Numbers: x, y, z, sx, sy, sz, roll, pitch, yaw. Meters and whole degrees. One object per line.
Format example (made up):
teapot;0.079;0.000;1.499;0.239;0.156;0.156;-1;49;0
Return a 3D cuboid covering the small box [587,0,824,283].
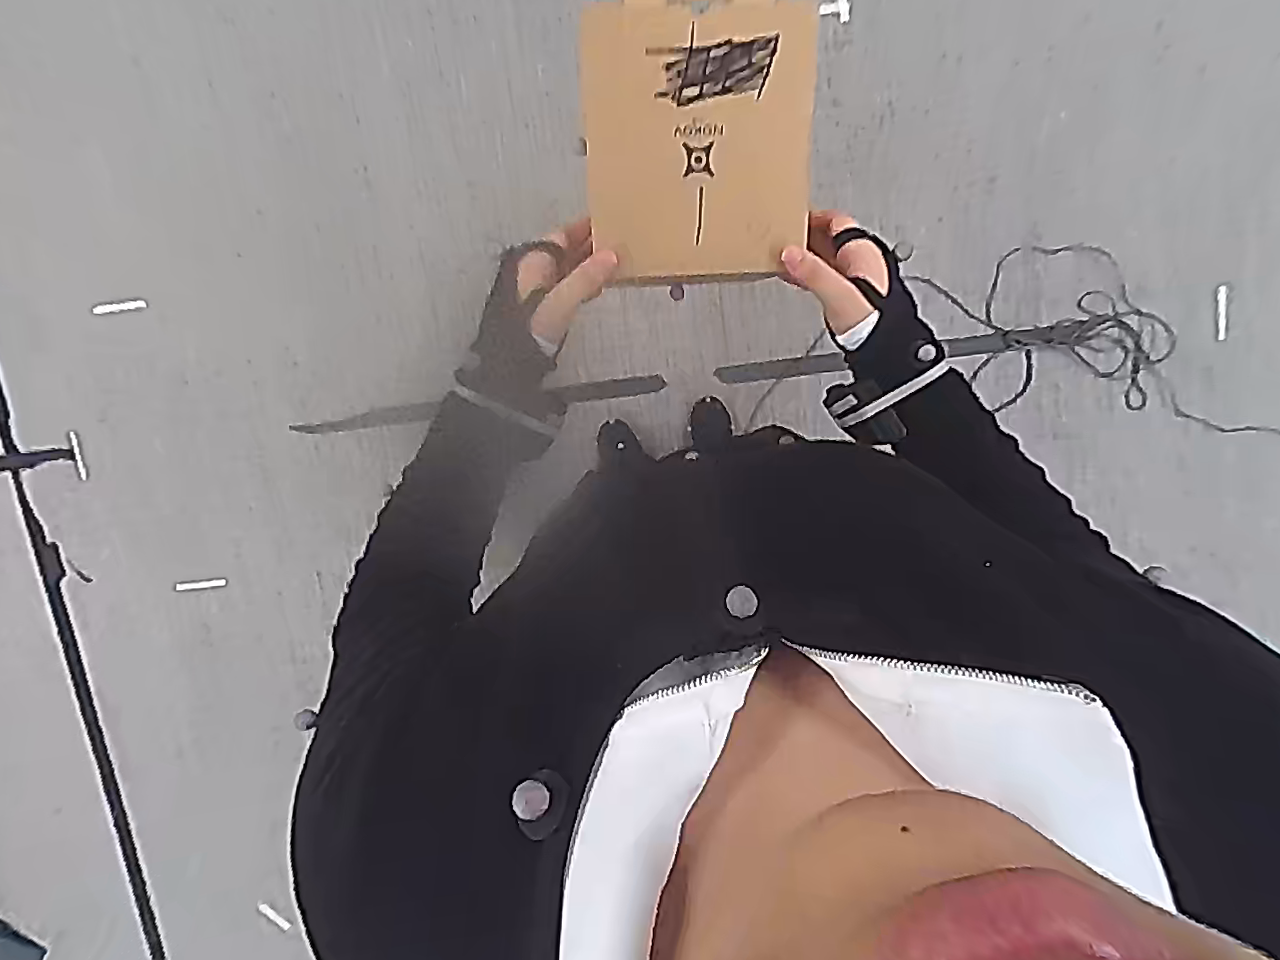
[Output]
small box;0.042;-0.266;0.461;0.168;0.176;0.179;-3;109;-2
